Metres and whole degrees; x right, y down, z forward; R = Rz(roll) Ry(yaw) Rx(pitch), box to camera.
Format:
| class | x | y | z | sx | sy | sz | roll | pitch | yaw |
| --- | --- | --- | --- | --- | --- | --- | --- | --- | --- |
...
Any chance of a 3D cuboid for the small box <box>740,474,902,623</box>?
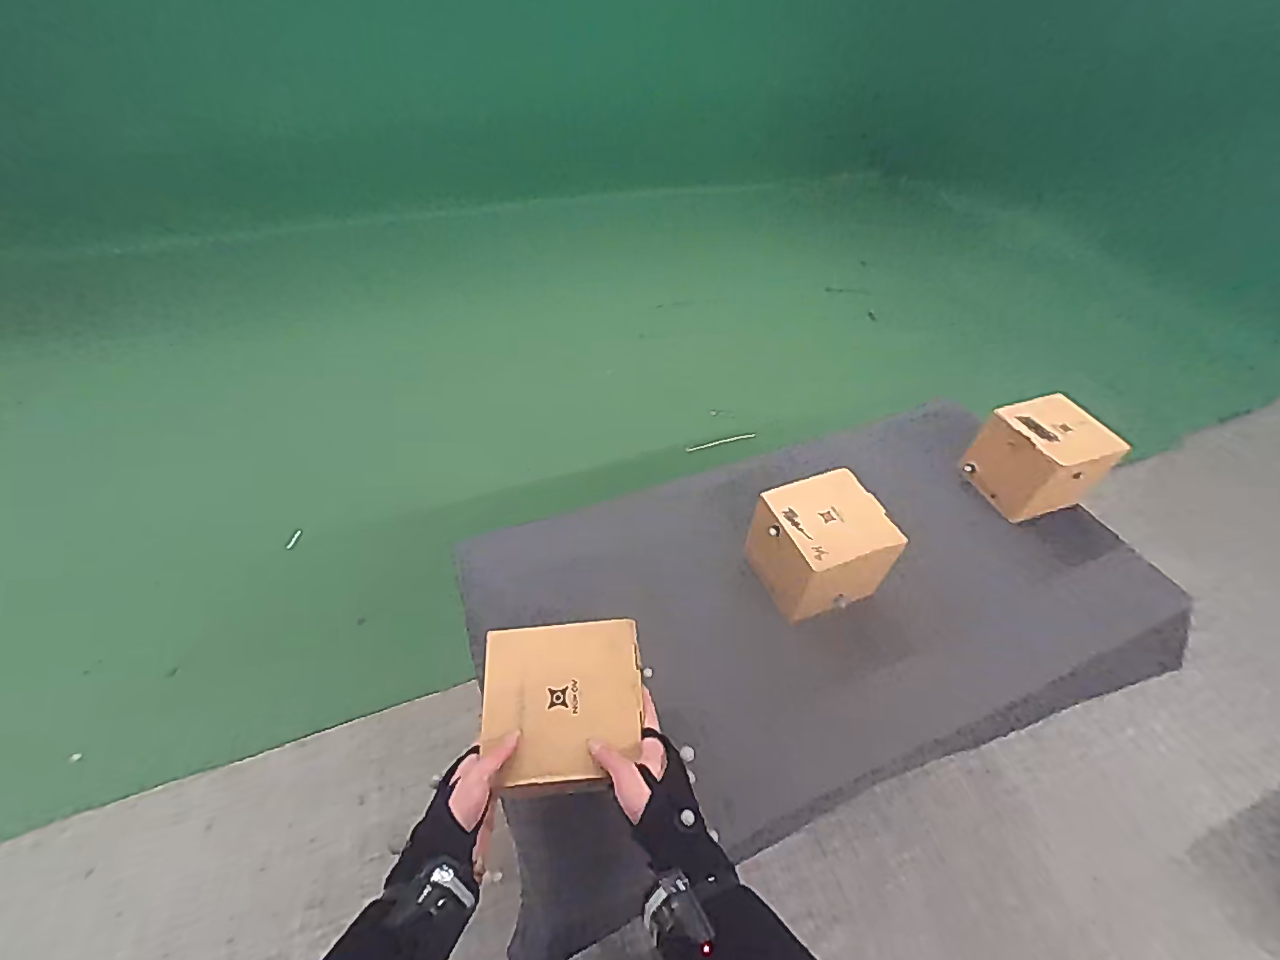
| class | x | y | z | sx | sy | sz | roll | pitch | yaw |
| --- | --- | --- | --- | --- | --- | --- | --- | --- | --- |
| small box | 0.298 | 0.118 | 0.929 | 0.179 | 0.176 | 0.168 | -13 | 51 | -19 |

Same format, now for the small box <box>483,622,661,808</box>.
| class | x | y | z | sx | sy | sz | roll | pitch | yaw |
| --- | --- | --- | --- | --- | --- | --- | --- | --- | --- |
| small box | -0.073 | 0.280 | 0.637 | 0.179 | 0.176 | 0.168 | -5 | 56 | -3 |

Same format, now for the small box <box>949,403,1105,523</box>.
| class | x | y | z | sx | sy | sz | roll | pitch | yaw |
| --- | --- | --- | --- | --- | --- | --- | --- | --- | --- |
| small box | 0.780 | -0.032 | 1.118 | 0.179 | 0.176 | 0.168 | -12 | 50 | -18 |
